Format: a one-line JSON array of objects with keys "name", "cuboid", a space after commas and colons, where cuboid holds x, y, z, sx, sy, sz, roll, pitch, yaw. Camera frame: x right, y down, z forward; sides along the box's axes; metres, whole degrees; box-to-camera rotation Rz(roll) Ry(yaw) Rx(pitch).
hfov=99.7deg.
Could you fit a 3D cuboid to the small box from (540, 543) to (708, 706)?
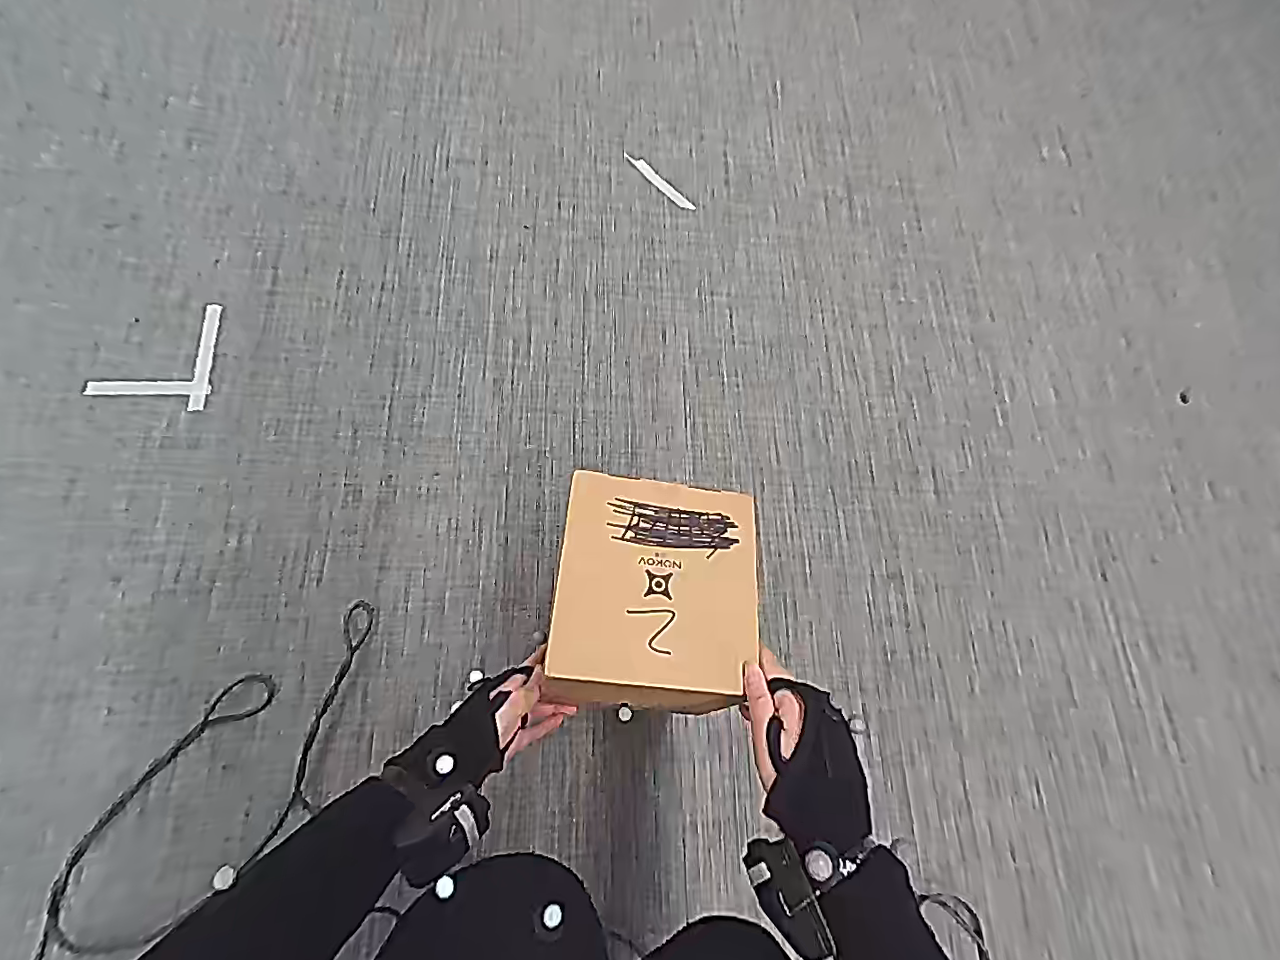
[{"name": "small box", "cuboid": [-0.022, 0.183, 0.676, 0.179, 0.176, 0.168, 7, 71, -5]}]
